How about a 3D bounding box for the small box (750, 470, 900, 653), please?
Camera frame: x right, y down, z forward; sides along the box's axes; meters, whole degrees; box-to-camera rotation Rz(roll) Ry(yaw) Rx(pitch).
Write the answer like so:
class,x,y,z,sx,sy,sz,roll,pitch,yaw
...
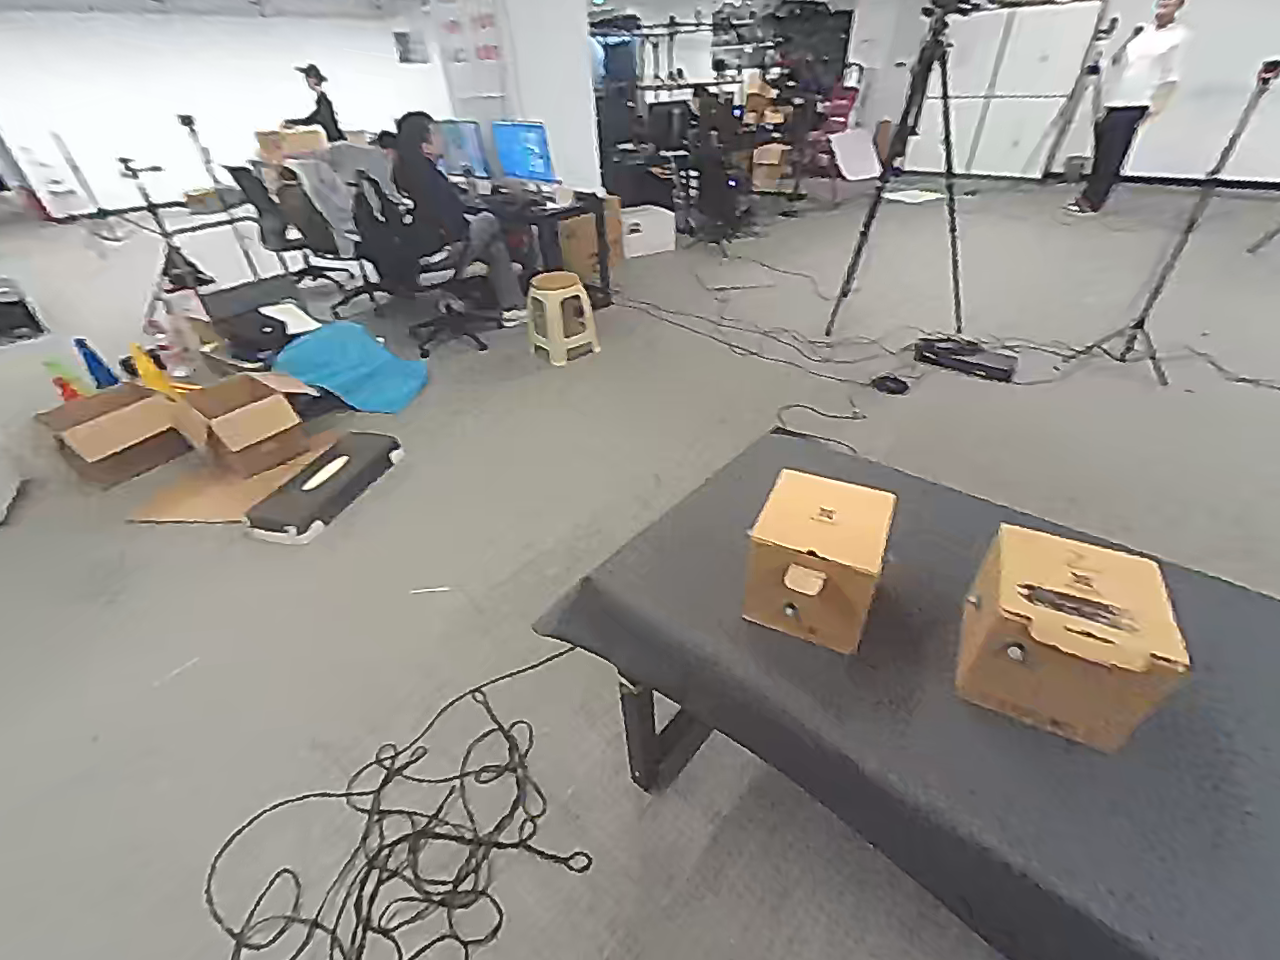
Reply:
class,x,y,z,sx,sy,sz,roll,pitch,yaw
small box,0.267,0.116,0.800,0.168,0.176,0.179,15,41,23
